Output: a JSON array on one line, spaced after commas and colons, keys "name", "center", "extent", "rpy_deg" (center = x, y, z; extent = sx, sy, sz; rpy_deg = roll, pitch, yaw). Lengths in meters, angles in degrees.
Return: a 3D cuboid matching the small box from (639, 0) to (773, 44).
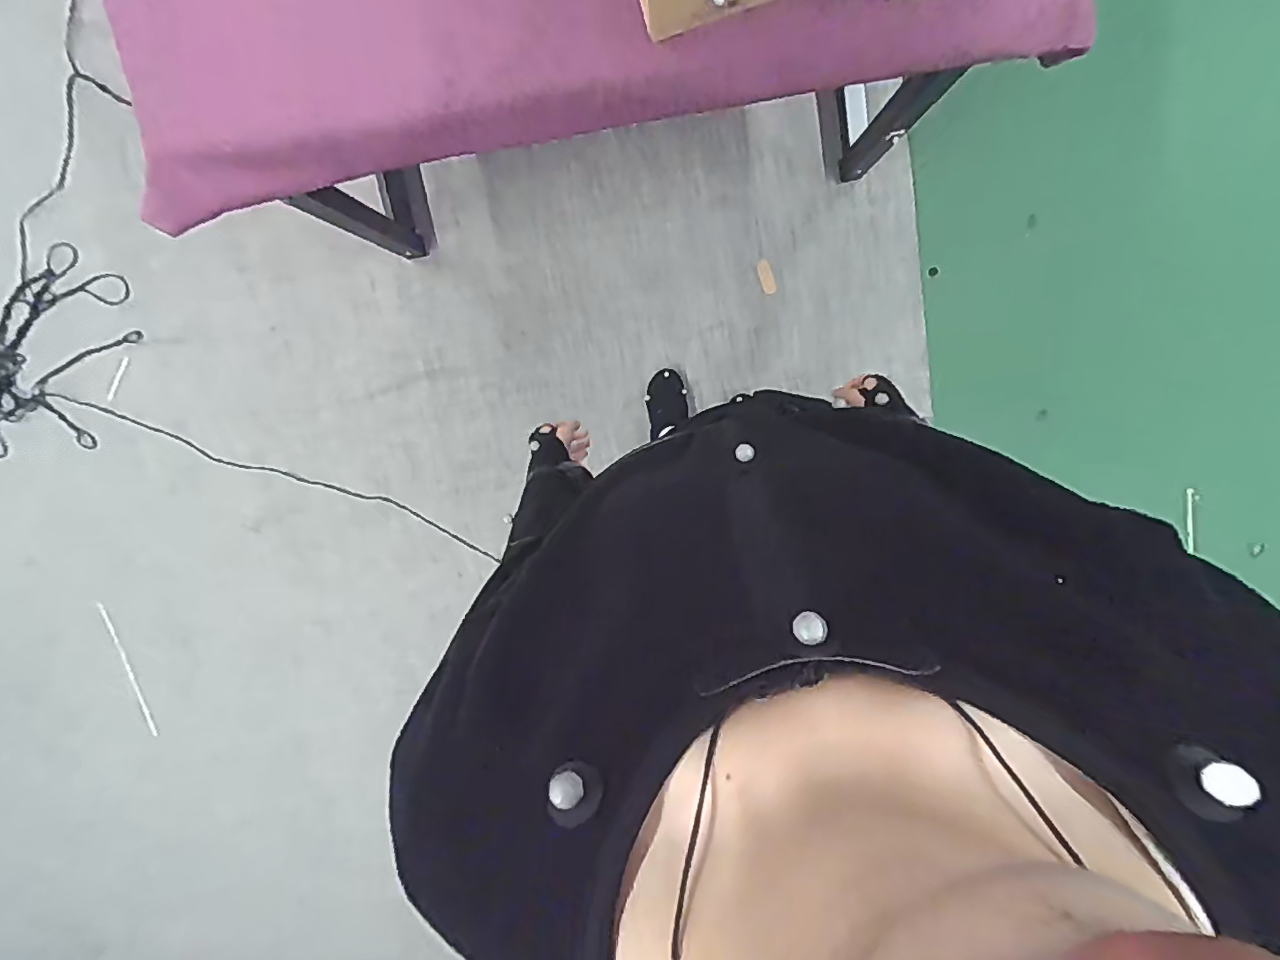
[{"name": "small box", "center": [0.063, -0.629, 0.575], "extent": [0.168, 0.176, 0.179], "rpy_deg": [-15, 98, 6]}]
